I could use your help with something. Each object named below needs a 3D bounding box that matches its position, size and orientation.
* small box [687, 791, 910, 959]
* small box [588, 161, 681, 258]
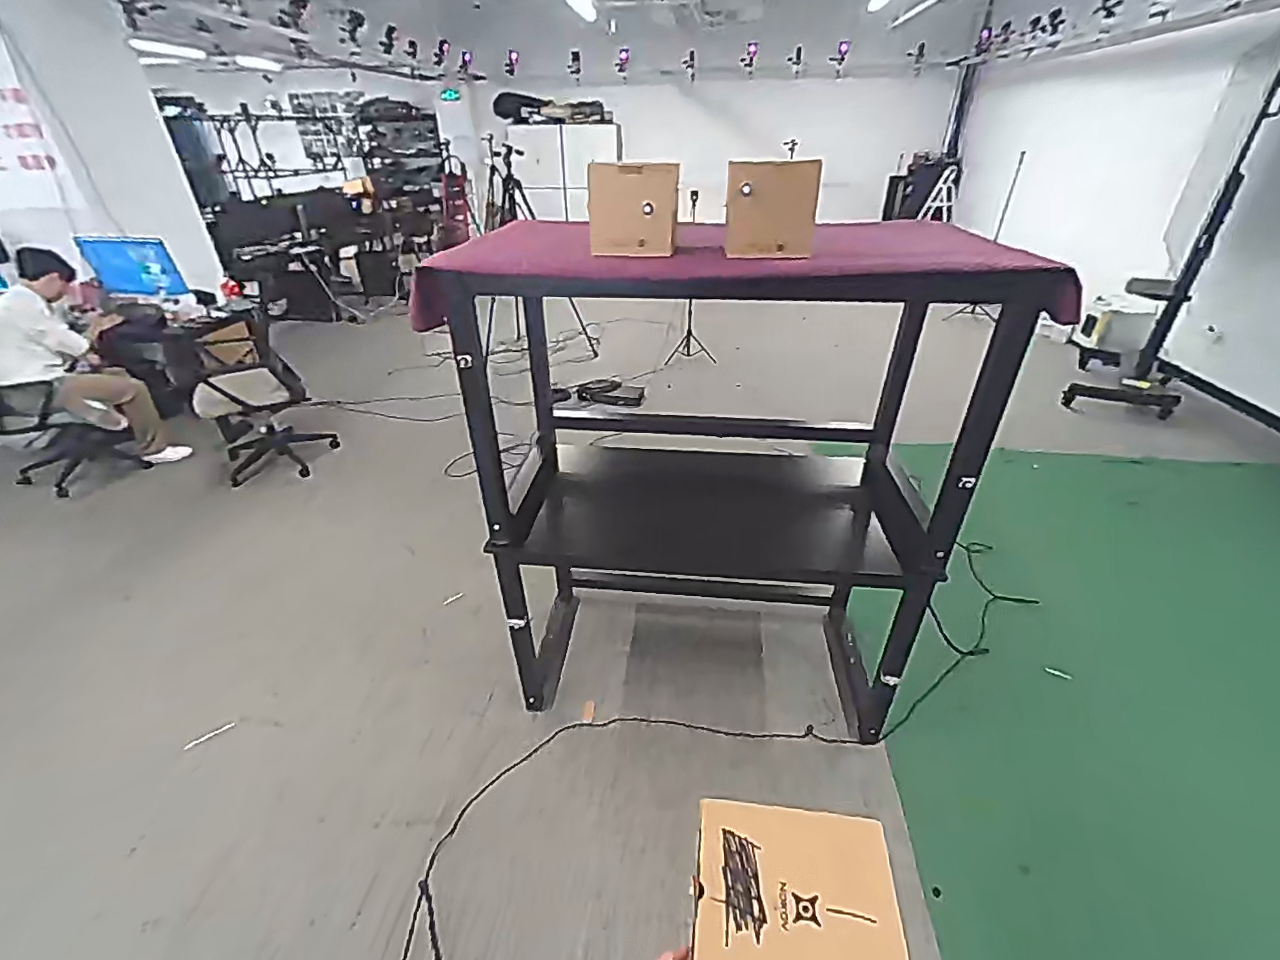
[{"bbox_3d":[0.139,0.429,0.508,0.179,0.176,0.168,2,32,10],"label":"small box"},{"bbox_3d":[-0.005,-0.564,1.126,0.168,0.176,0.179,5,31,7],"label":"small box"}]
